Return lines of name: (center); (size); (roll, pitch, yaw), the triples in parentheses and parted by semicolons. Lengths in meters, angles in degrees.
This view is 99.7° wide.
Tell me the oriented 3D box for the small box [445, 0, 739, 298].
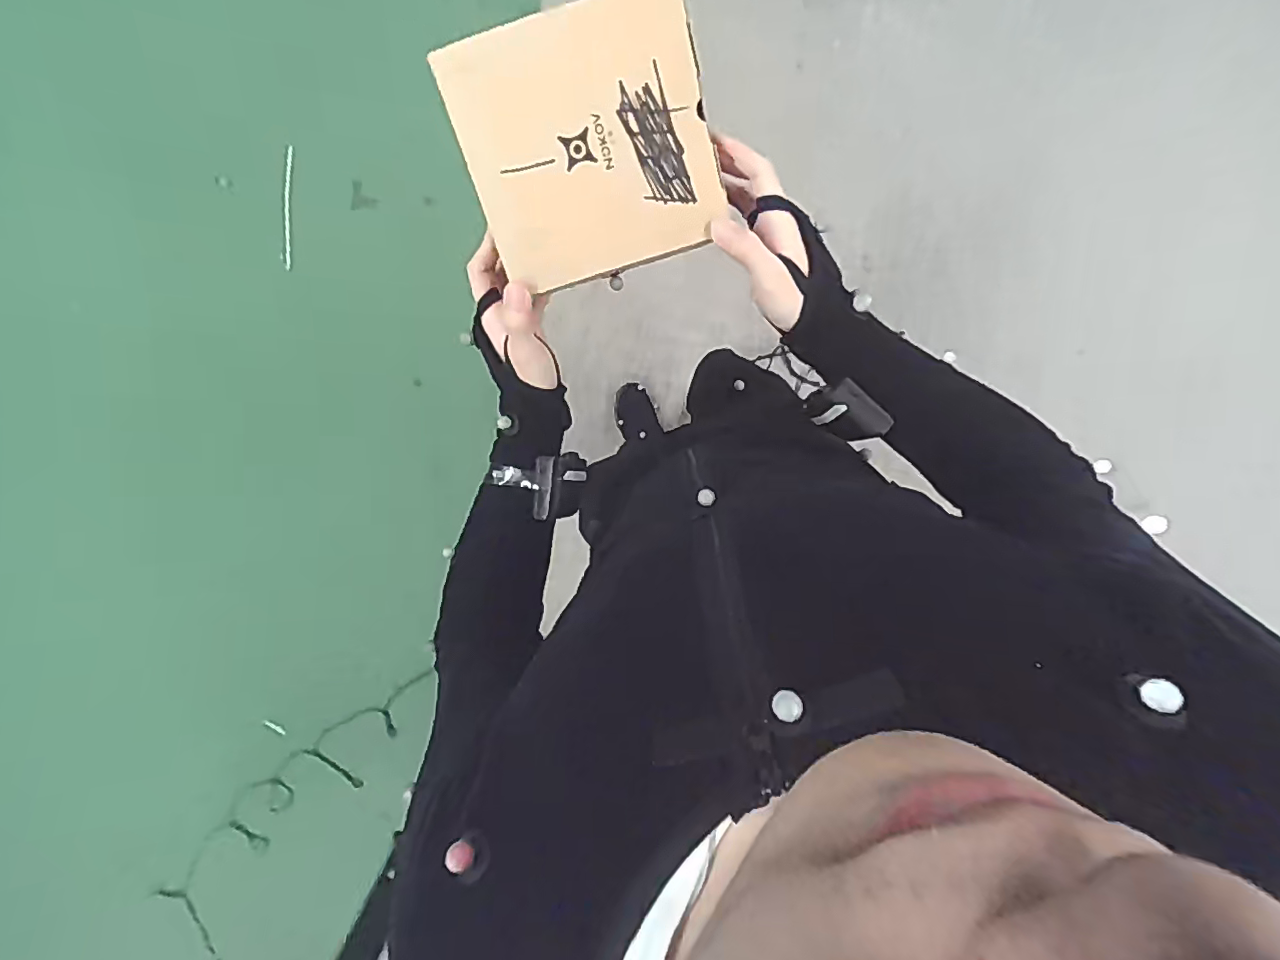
small box: (-0.032, -0.262, 0.459); (0.179, 0.176, 0.168); (-15, 109, 3)
